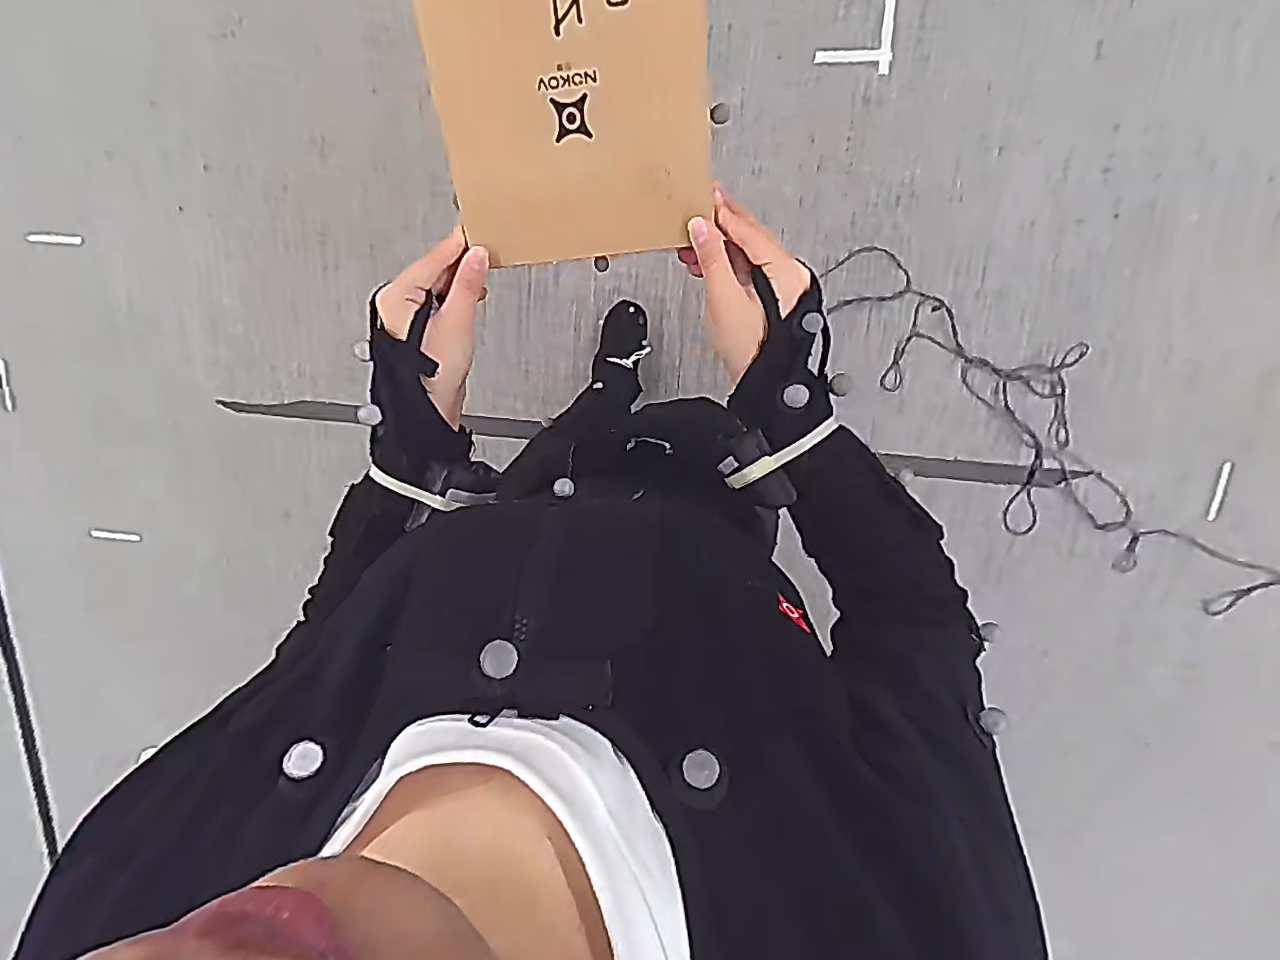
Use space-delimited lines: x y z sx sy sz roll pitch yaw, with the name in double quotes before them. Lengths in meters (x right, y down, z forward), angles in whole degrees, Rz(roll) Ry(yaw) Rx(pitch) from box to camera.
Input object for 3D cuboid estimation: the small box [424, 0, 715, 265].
"small box" -0.032 -0.263 0.394 0.168 0.176 0.179 -3 115 5
